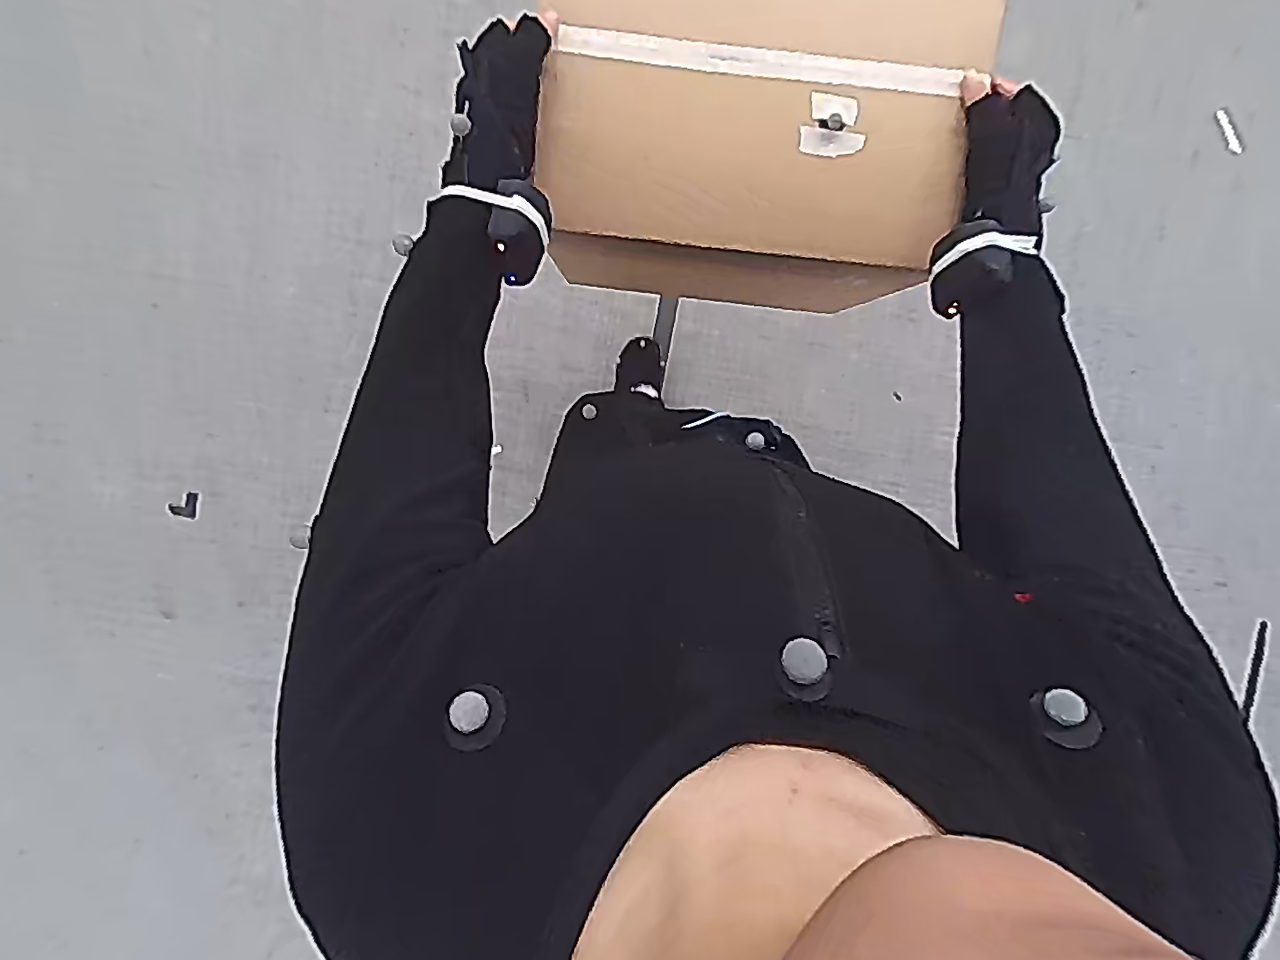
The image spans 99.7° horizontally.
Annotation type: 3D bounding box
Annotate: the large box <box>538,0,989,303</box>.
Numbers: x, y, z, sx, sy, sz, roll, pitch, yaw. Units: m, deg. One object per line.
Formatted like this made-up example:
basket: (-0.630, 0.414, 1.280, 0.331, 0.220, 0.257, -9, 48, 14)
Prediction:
large box: (0.107, -0.405, 0.640, 0.408, 0.320, 0.320, 5, 101, -2)
